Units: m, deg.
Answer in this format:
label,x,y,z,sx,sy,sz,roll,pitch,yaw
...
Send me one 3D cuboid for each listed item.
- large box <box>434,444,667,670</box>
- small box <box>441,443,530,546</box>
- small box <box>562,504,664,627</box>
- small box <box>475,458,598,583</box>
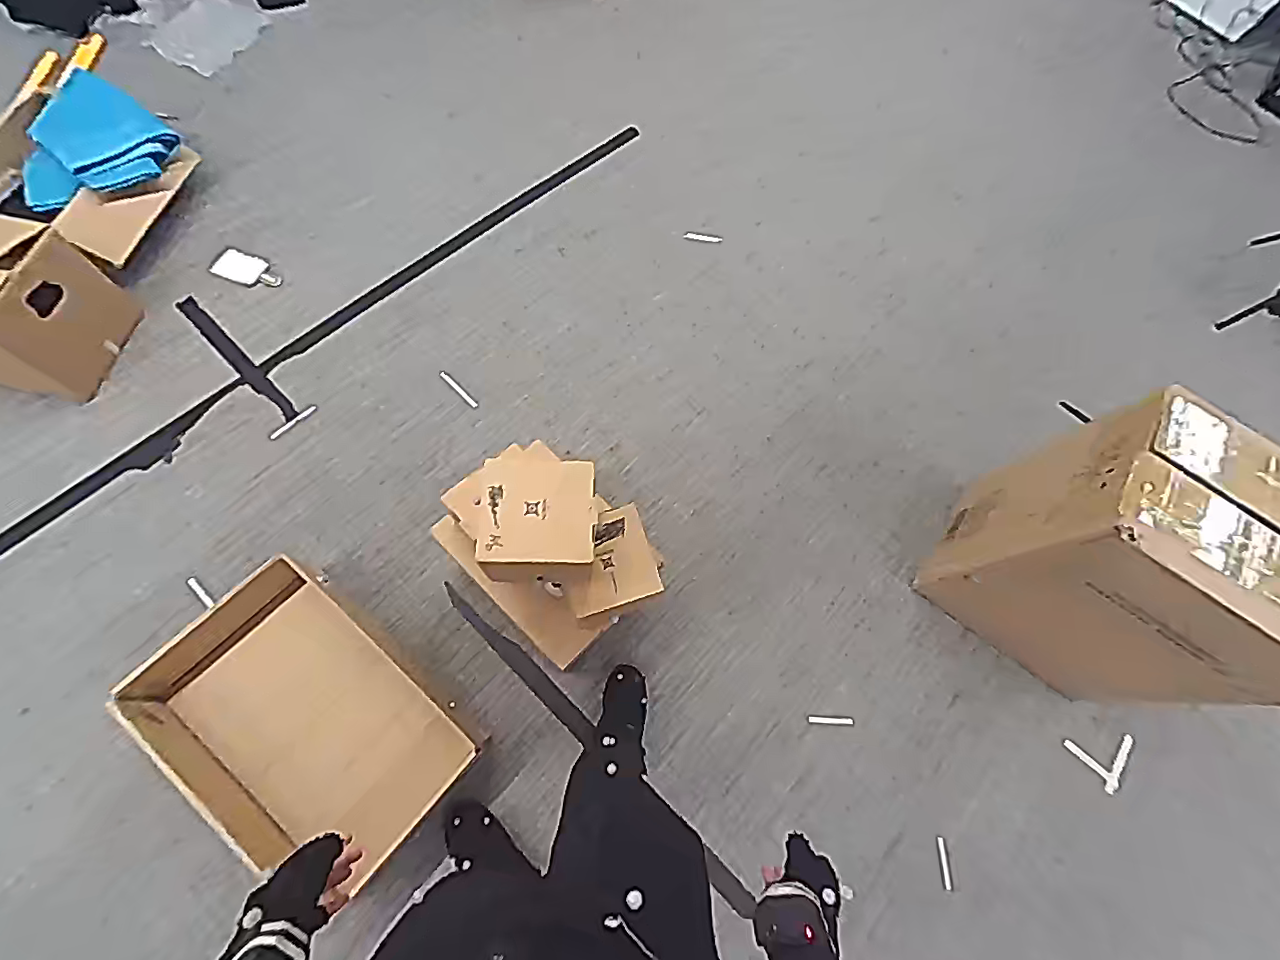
label,x,y,z,sx,sy,sz,roll,pitch,yaw
large box,-0.207,0.194,1.283,0.408,0.320,0.320,42,70,8
small box,-0.257,0.065,1.064,0.179,0.176,0.168,-41,82,-20
small box,-0.069,0.170,1.047,0.168,0.176,0.179,-15,72,-13
small box,-0.164,0.073,0.895,0.179,0.176,0.168,2,69,-7
